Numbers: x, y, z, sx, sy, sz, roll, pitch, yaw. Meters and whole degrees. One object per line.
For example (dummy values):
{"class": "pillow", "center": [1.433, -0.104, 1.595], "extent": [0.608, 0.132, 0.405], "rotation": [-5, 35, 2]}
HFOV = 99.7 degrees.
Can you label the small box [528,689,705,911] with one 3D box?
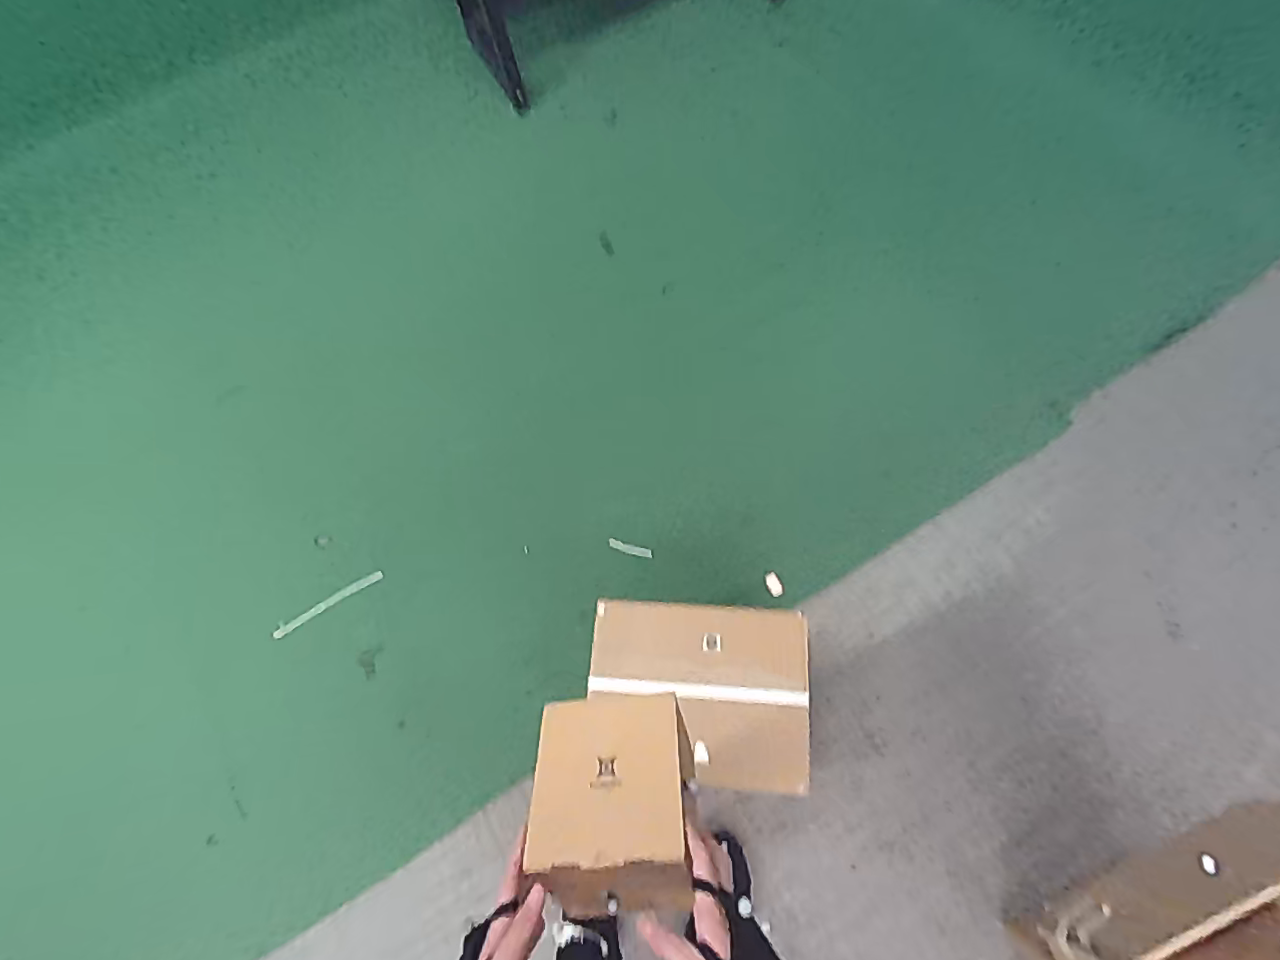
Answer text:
{"class": "small box", "center": [-0.018, 0.374, 0.635], "extent": [0.168, 0.176, 0.179], "rotation": [-8, 40, 6]}
